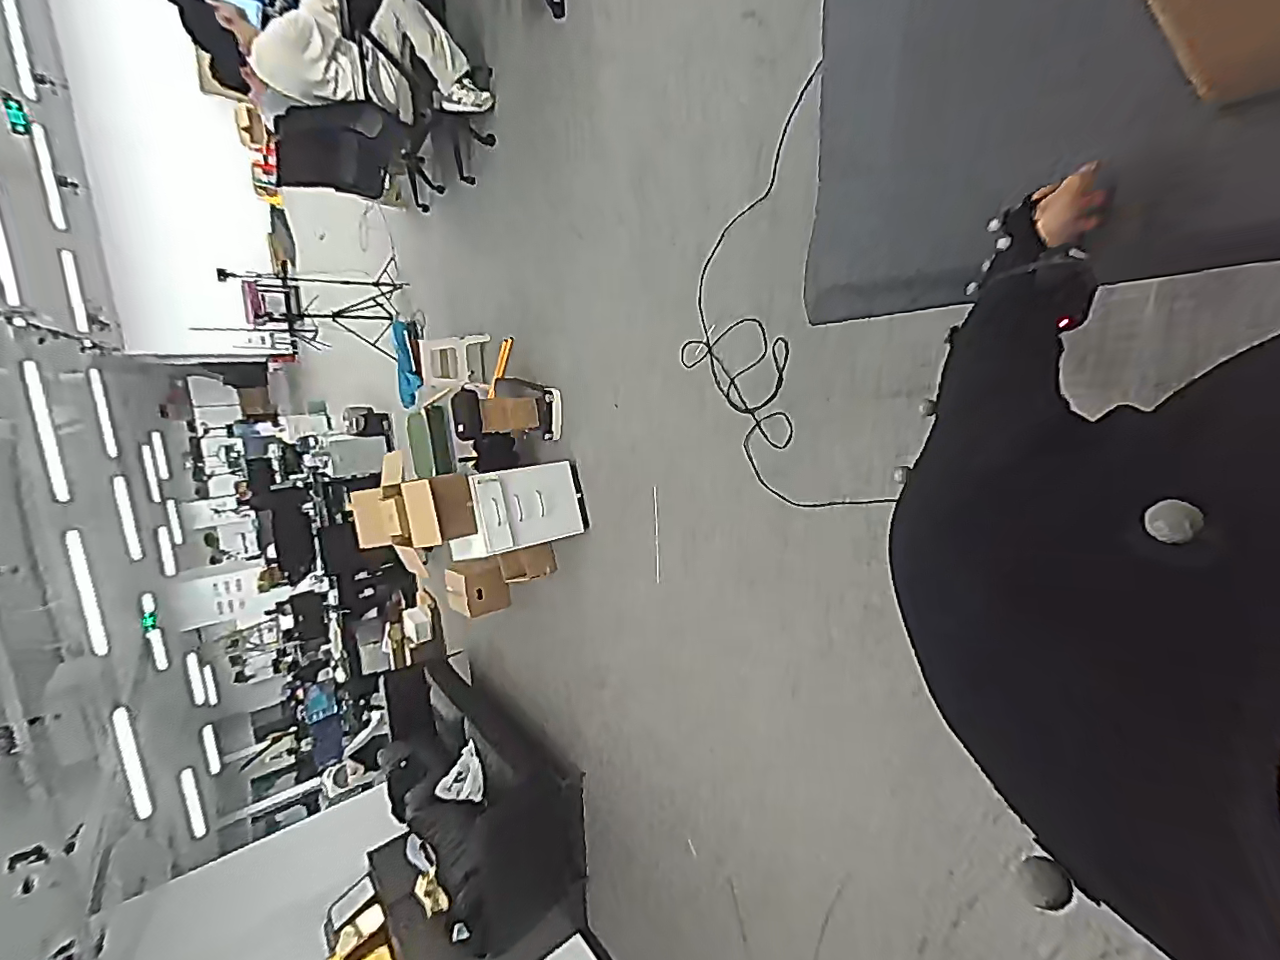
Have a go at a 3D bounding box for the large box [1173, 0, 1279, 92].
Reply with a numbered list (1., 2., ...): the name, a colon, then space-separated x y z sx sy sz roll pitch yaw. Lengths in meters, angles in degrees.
1. large box: 0.559 -0.478 0.259 0.408 0.320 0.320 11 108 50
